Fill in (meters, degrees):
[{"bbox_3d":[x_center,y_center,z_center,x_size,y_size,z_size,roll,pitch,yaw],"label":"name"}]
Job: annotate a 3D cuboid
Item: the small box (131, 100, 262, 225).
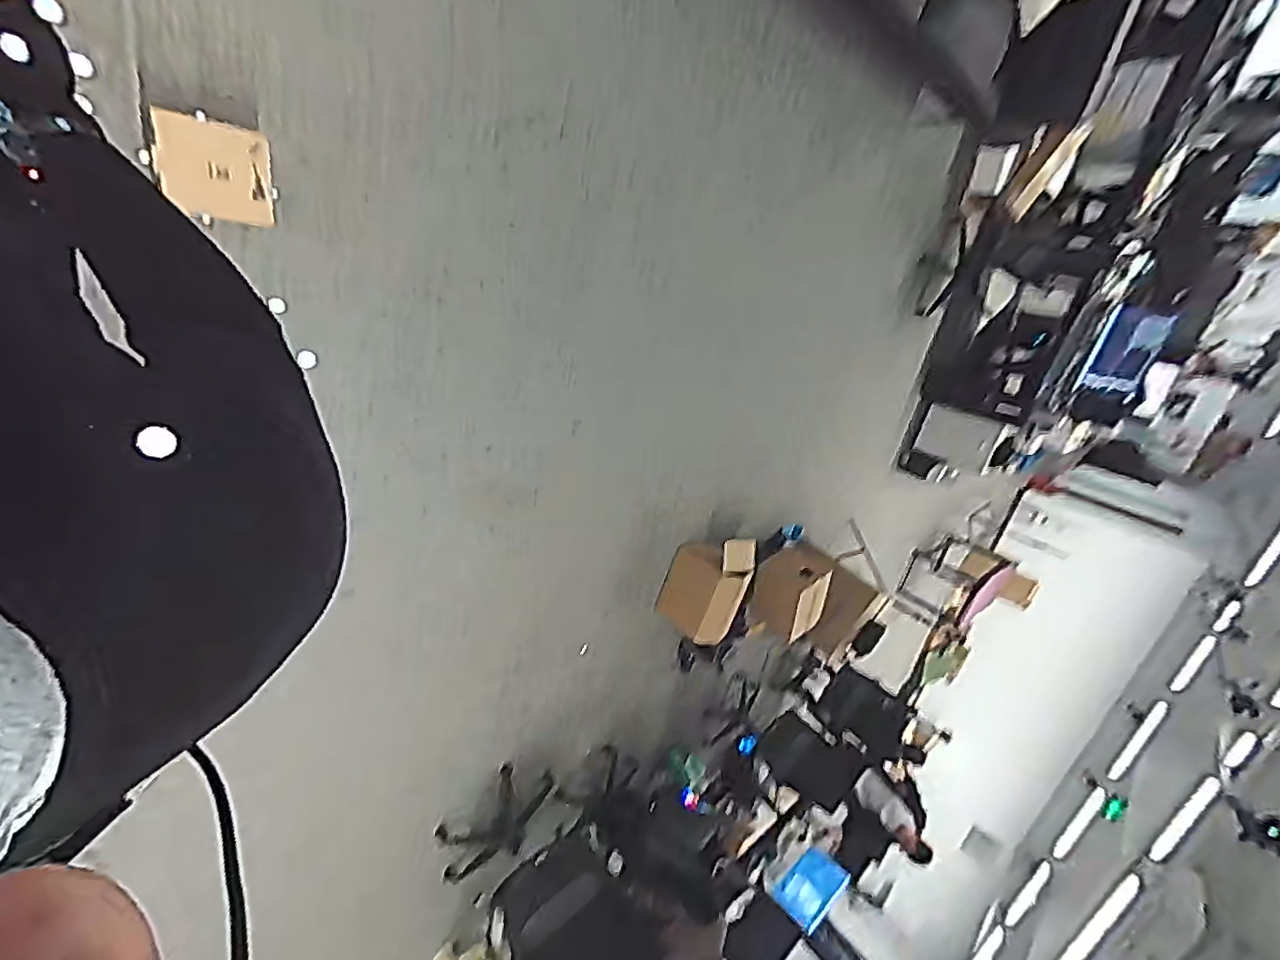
[{"bbox_3d":[-0.853,-0.602,1.040,0.179,0.176,0.168,-9,120,-43],"label":"small box"}]
